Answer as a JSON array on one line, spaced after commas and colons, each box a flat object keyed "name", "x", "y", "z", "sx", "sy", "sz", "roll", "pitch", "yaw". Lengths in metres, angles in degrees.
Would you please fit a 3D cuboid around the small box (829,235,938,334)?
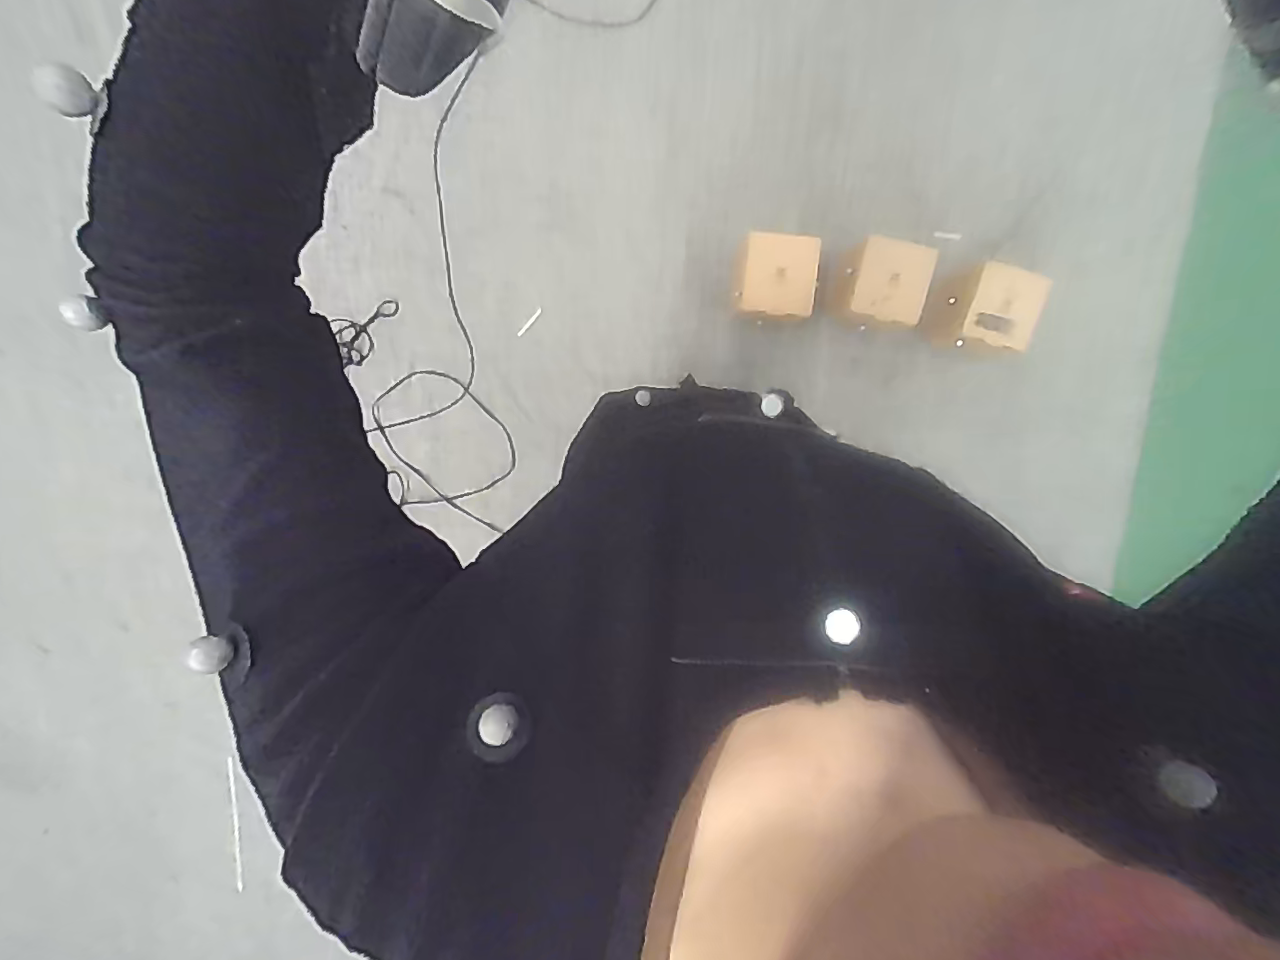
[{"name": "small box", "x": 0.580, "y": -0.465, "z": 1.312, "sx": 0.168, "sy": 0.176, "sz": 0.179, "roll": 13, "pitch": 99, "yaw": -1}]

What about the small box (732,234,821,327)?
[{"name": "small box", "x": 0.323, "y": -0.477, "z": 1.315, "sx": 0.168, "sy": 0.176, "sz": 0.179, "roll": 5, "pitch": 99, "yaw": 0}]
